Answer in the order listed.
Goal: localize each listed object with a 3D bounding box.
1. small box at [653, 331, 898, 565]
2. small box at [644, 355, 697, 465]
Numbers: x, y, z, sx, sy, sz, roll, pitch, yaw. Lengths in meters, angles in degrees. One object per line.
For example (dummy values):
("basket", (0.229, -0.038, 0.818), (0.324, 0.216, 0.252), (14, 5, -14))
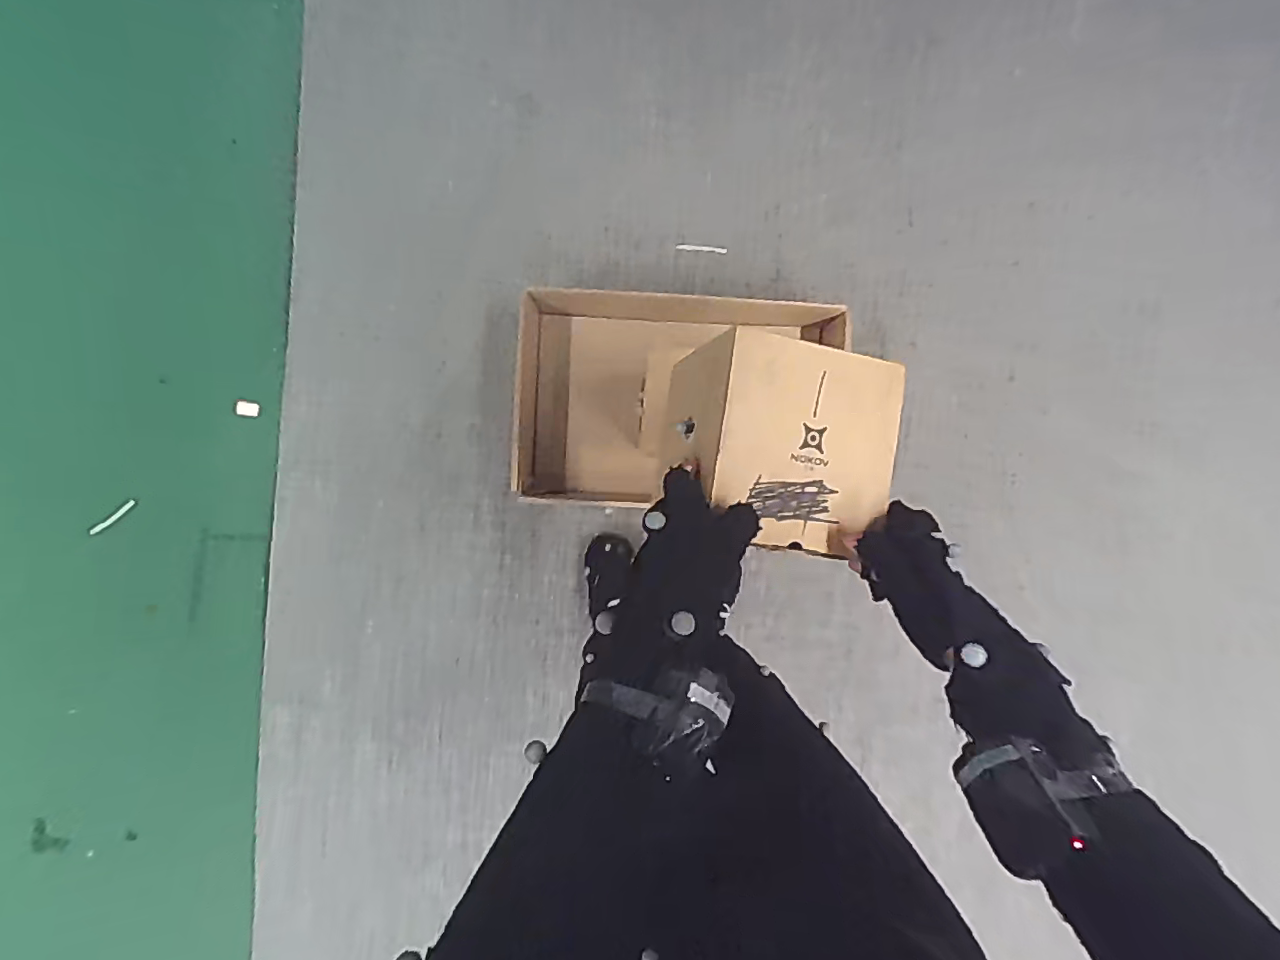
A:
("small box", (0.119, -0.024, 0.538), (0.168, 0.176, 0.179), (10, 87, -14))
("small box", (0.097, -0.107, 0.887), (0.179, 0.176, 0.168), (0, 91, -1))
